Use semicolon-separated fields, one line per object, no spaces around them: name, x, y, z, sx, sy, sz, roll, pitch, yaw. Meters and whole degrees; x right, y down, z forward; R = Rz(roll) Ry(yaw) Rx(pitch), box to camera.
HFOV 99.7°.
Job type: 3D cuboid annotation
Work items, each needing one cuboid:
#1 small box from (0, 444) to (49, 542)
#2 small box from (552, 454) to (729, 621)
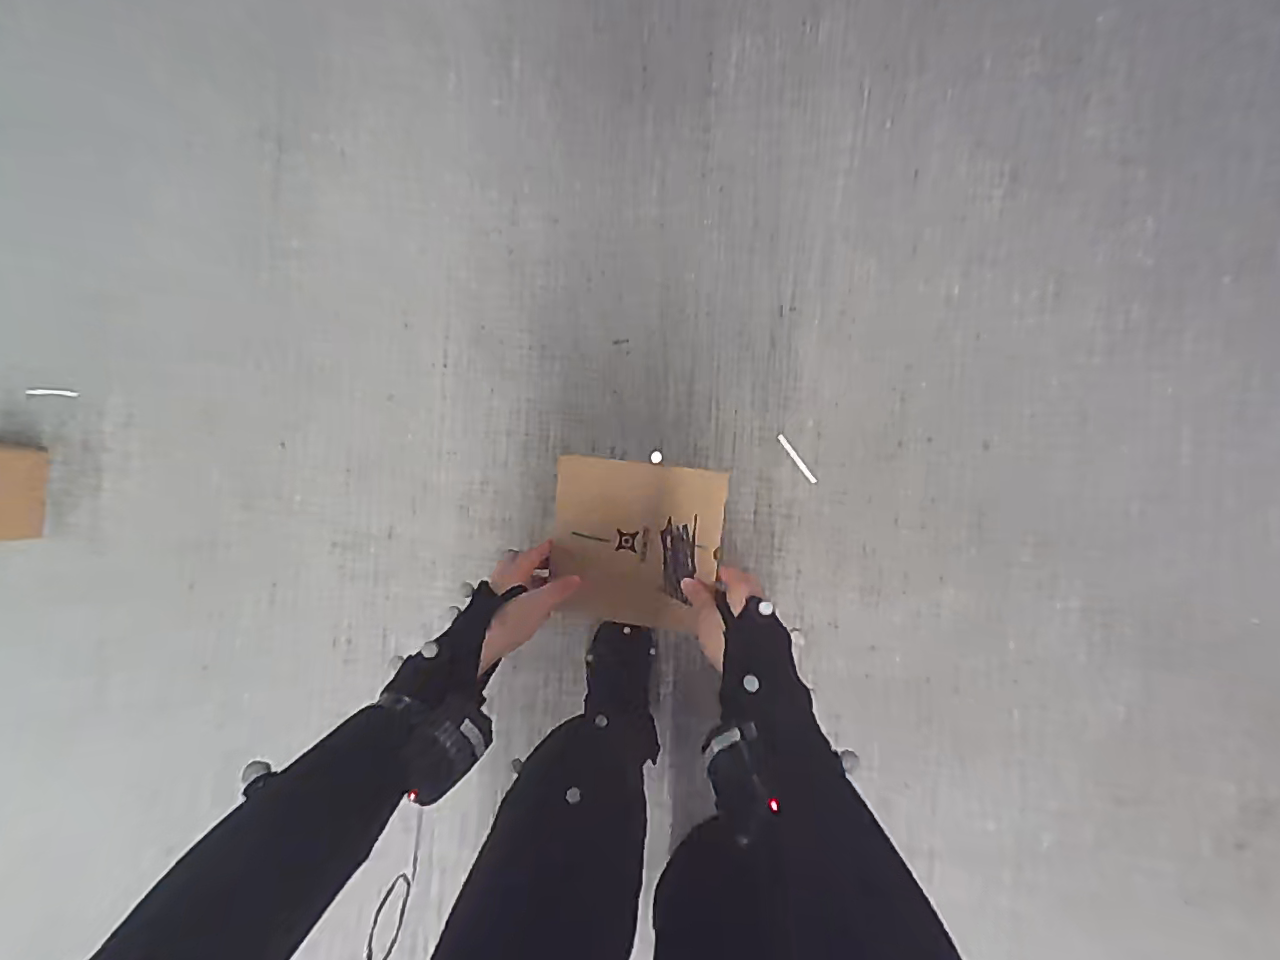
small box;-1.234;0.016;0.970;0.168;0.176;0.179;9;91;6
small box;0.000;0.060;0.658;0.179;0.176;0.168;6;91;1
